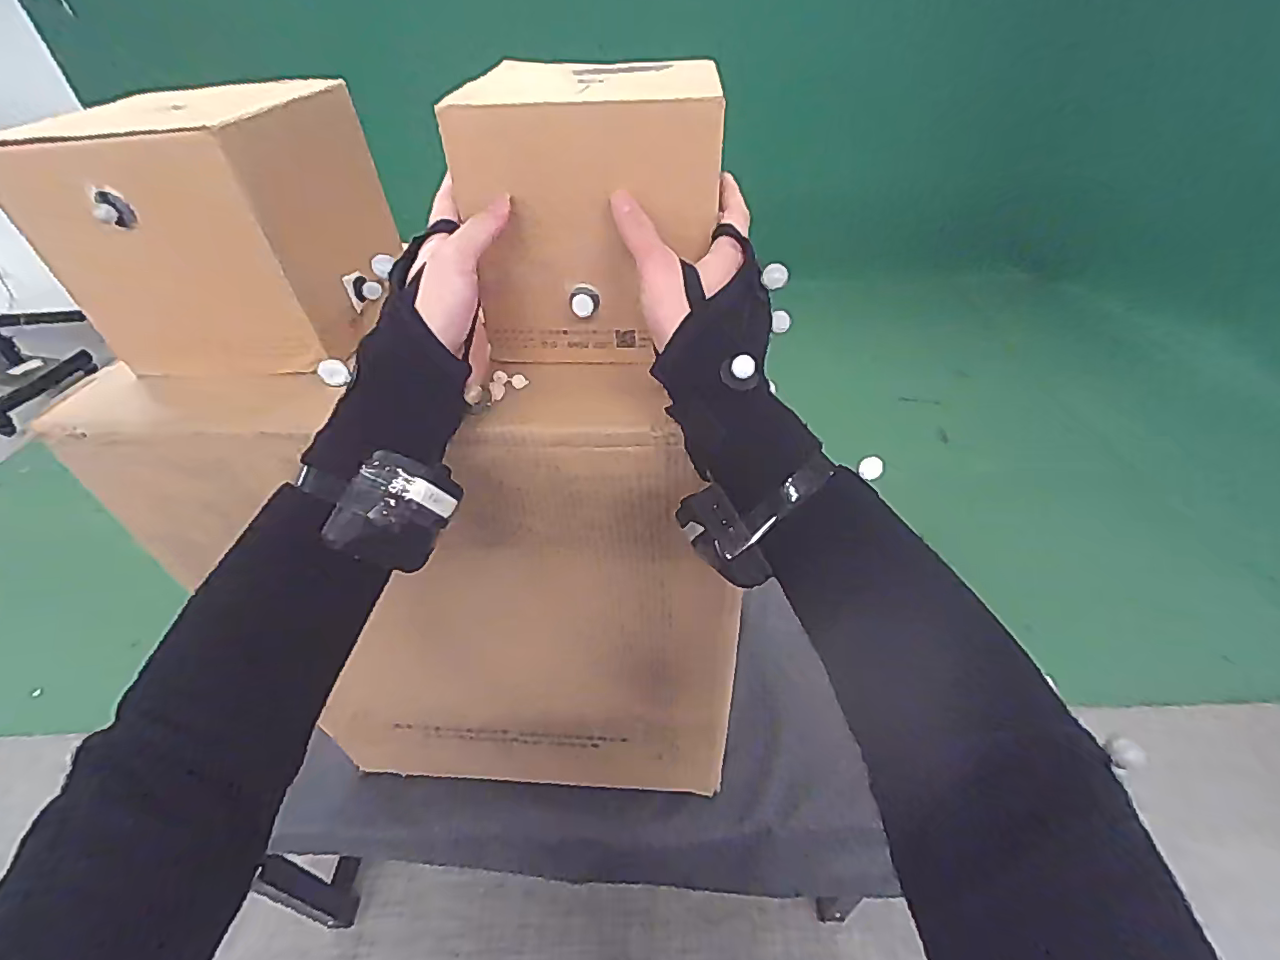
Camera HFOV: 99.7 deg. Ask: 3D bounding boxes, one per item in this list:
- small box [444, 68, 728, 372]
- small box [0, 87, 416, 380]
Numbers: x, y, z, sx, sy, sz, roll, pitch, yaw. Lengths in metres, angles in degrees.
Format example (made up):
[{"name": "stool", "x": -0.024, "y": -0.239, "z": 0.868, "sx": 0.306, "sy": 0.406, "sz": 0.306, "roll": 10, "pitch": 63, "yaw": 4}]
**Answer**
[{"name": "small box", "x": -0.025, "y": -0.203, "z": 0.417, "sx": 0.168, "sy": 0.176, "sz": 0.179, "roll": 1, "pitch": 44, "yaw": 4}, {"name": "small box", "x": -0.313, "y": -0.192, "z": 0.429, "sx": 0.179, "sy": 0.176, "sz": 0.168, "roll": 1, "pitch": 44, "yaw": 5}]
